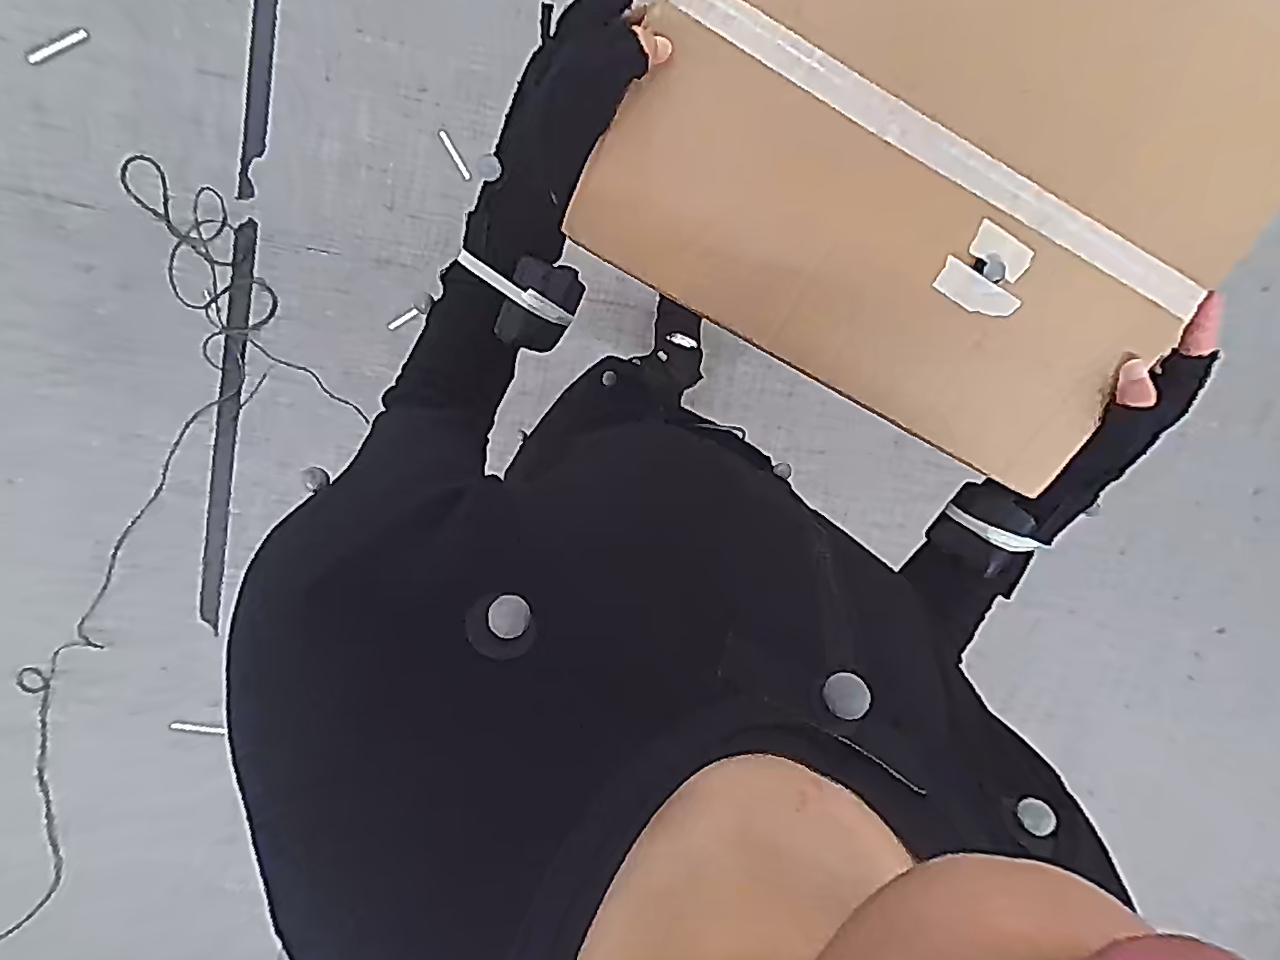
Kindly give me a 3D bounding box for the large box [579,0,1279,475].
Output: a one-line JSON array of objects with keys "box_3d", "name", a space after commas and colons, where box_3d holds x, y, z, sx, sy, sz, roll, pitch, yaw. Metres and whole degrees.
[{"box_3d": [0.203, -0.265, 0.501, 0.408, 0.320, 0.320, 28, 109, -7], "name": "large box"}]
